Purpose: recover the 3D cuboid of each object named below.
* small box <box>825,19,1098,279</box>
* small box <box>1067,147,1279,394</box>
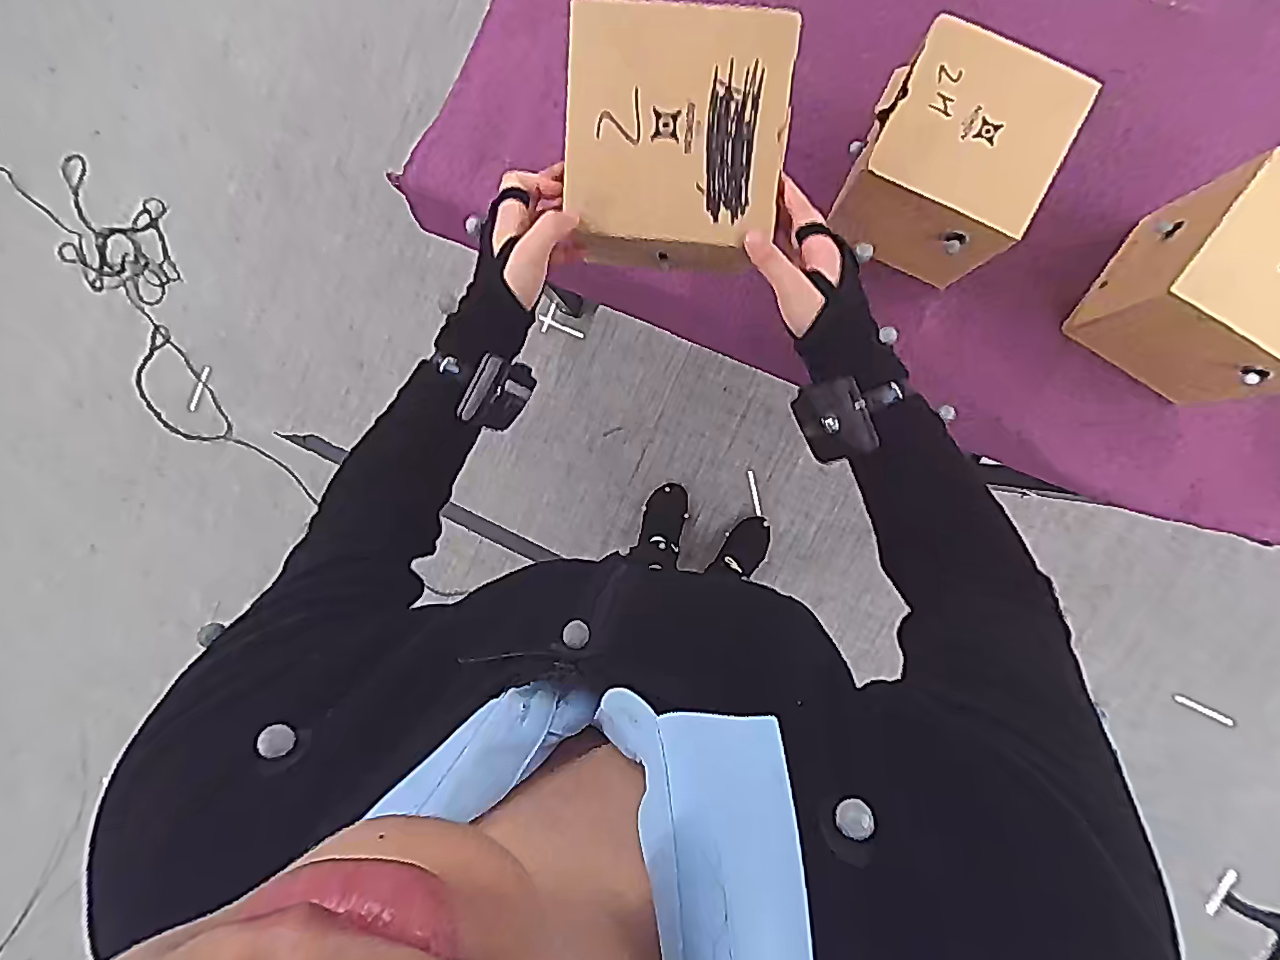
[{"bbox_3d":[0.344,-0.353,0.619,0.179,0.176,0.168,26,94,3],"label":"small box"},{"bbox_3d":[0.641,-0.210,0.599,0.179,0.176,0.168,34,95,3],"label":"small box"}]
